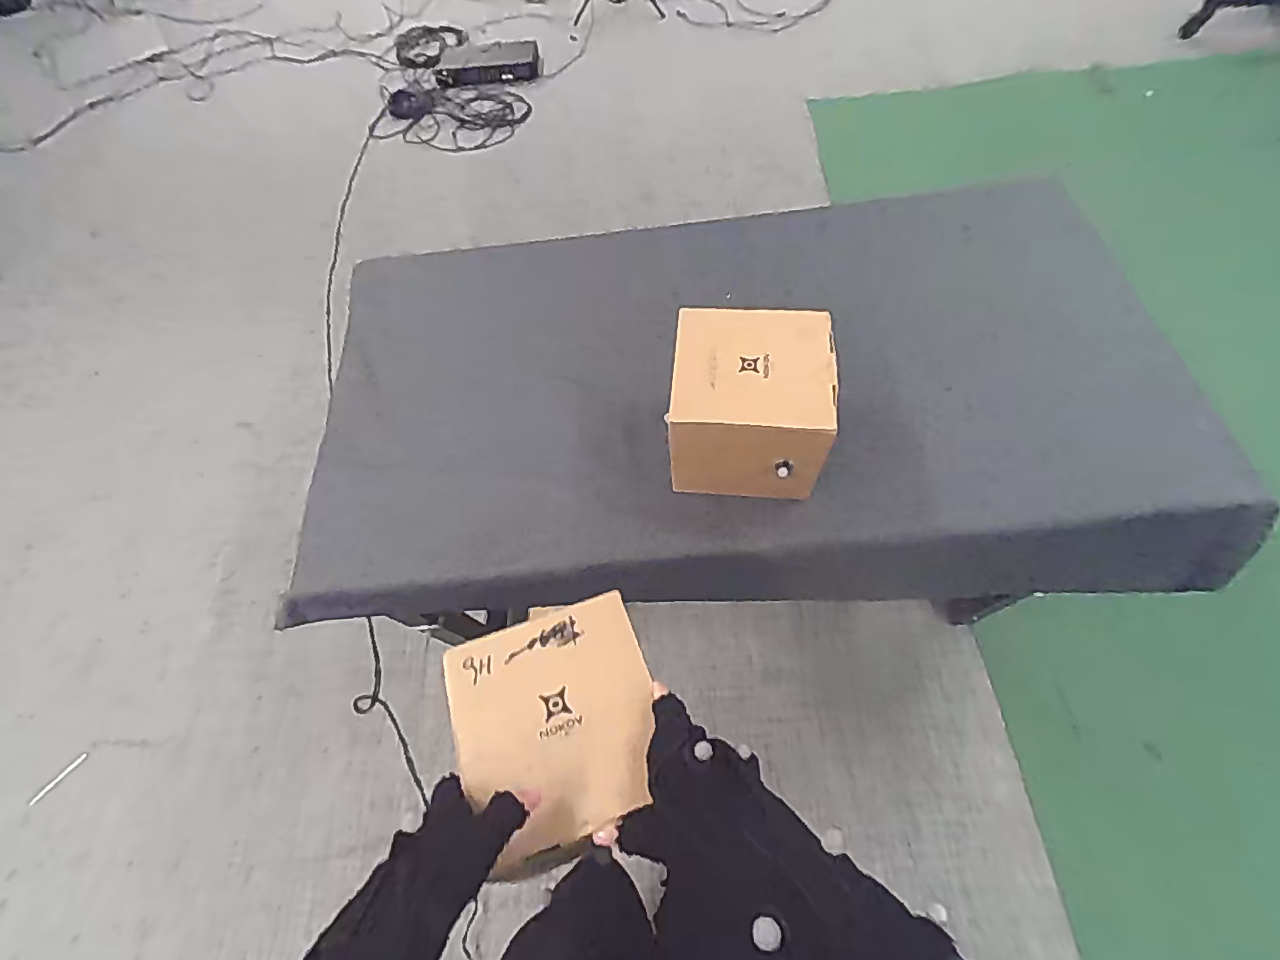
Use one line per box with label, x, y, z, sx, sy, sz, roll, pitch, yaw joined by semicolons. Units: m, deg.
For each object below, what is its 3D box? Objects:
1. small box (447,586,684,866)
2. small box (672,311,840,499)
small box;-0.065;0.231;0.513;0.168;0.176;0.179;-17;57;-10
small box;0.137;-0.086;0.670;0.179;0.176;0.168;3;62;8
